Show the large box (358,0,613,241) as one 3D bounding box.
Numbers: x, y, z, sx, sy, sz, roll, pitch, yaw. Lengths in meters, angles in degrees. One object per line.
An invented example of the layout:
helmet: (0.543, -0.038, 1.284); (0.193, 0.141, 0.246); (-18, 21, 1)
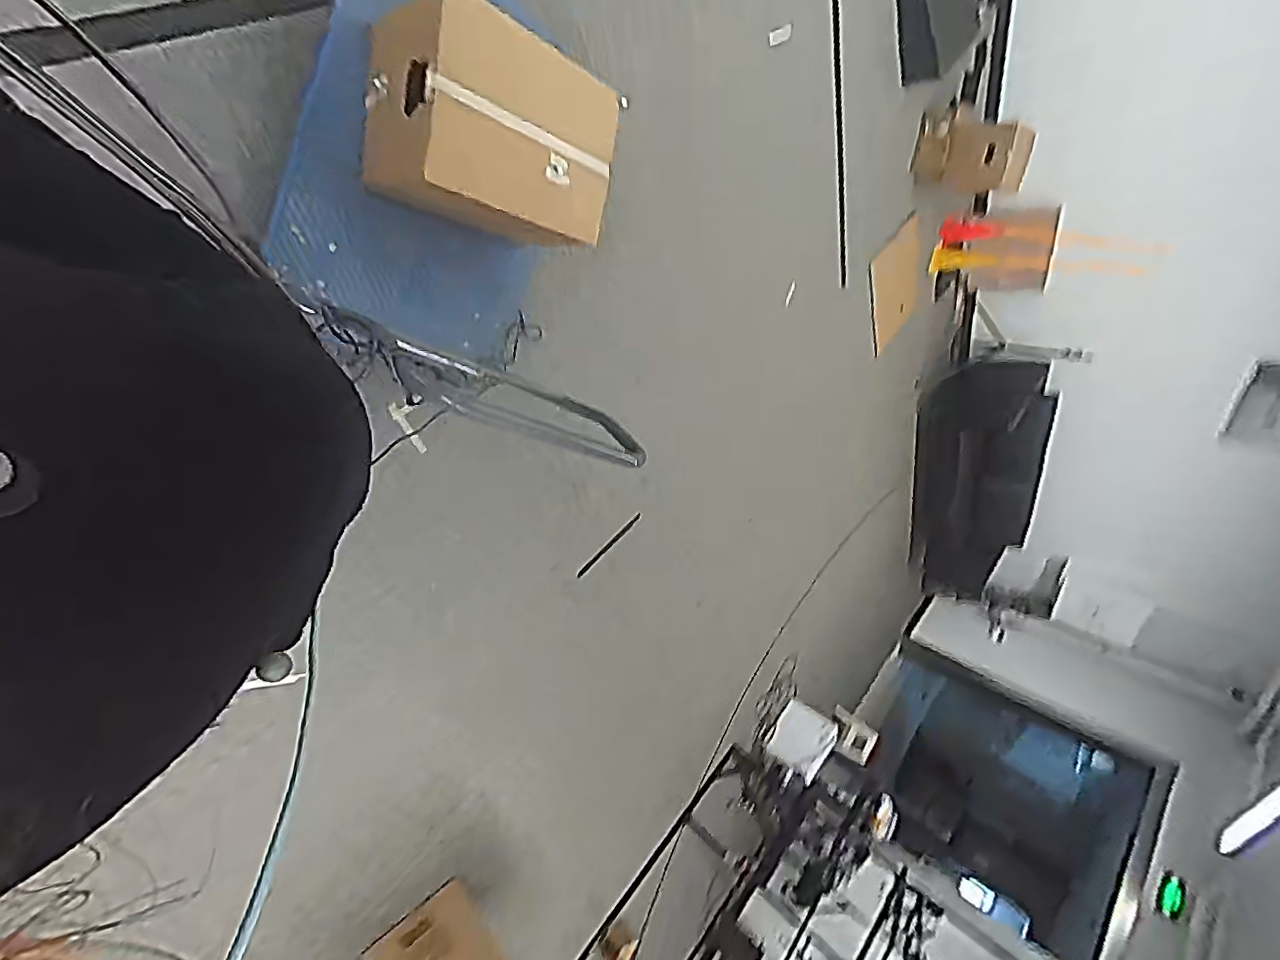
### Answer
large box: (-0.325, -0.719, 1.137); (0.408, 0.320, 0.320); (-2, 110, -48)
